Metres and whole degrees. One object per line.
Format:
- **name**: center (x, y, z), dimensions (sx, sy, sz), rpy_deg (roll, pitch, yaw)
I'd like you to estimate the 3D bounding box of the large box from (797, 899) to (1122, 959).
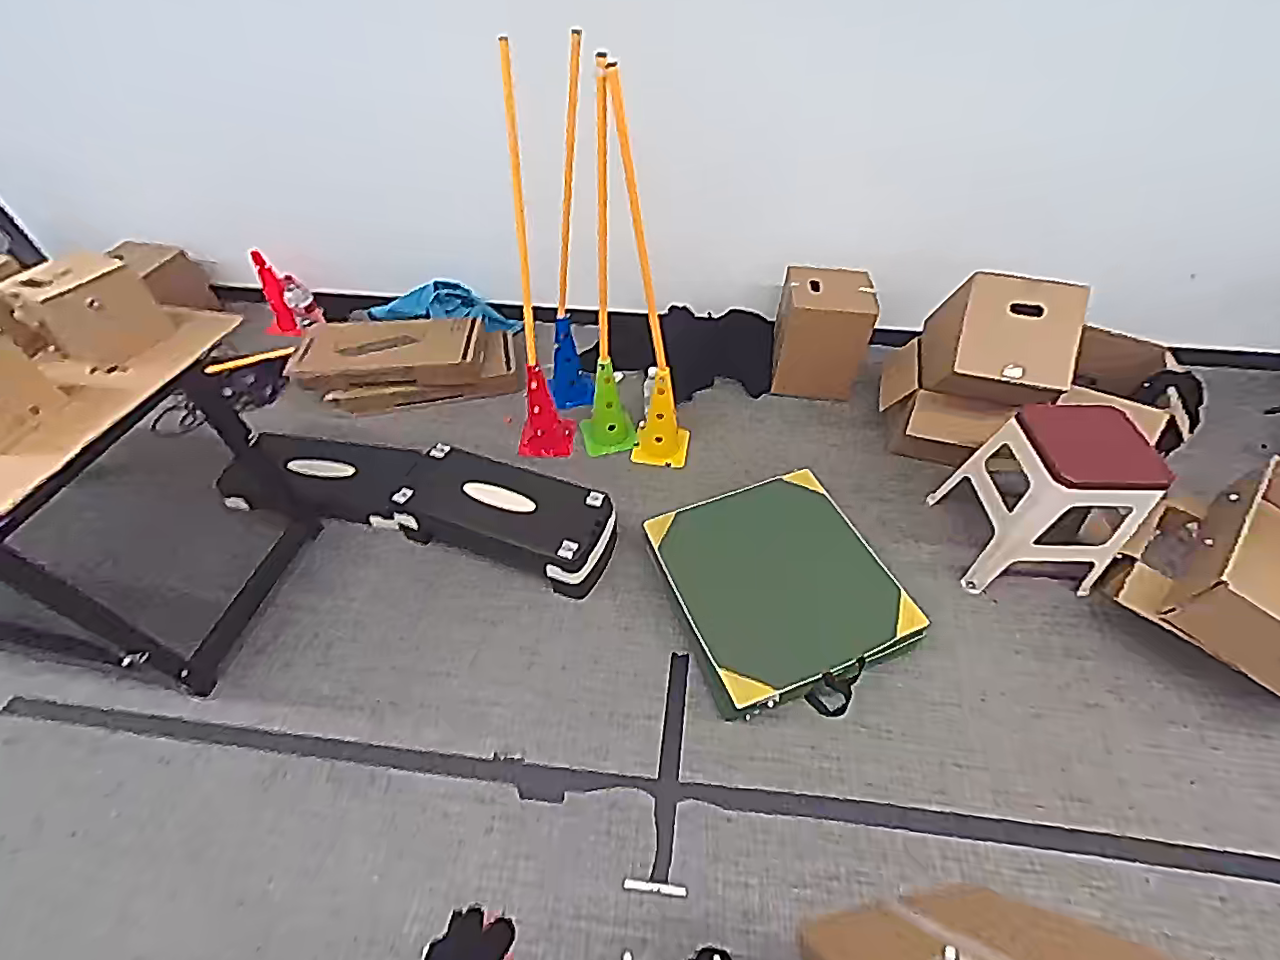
- **large box**: center (0.422, 0.735, 0.607), dimensions (0.320, 0.408, 0.320), rpy_deg (-7, 65, -7)
